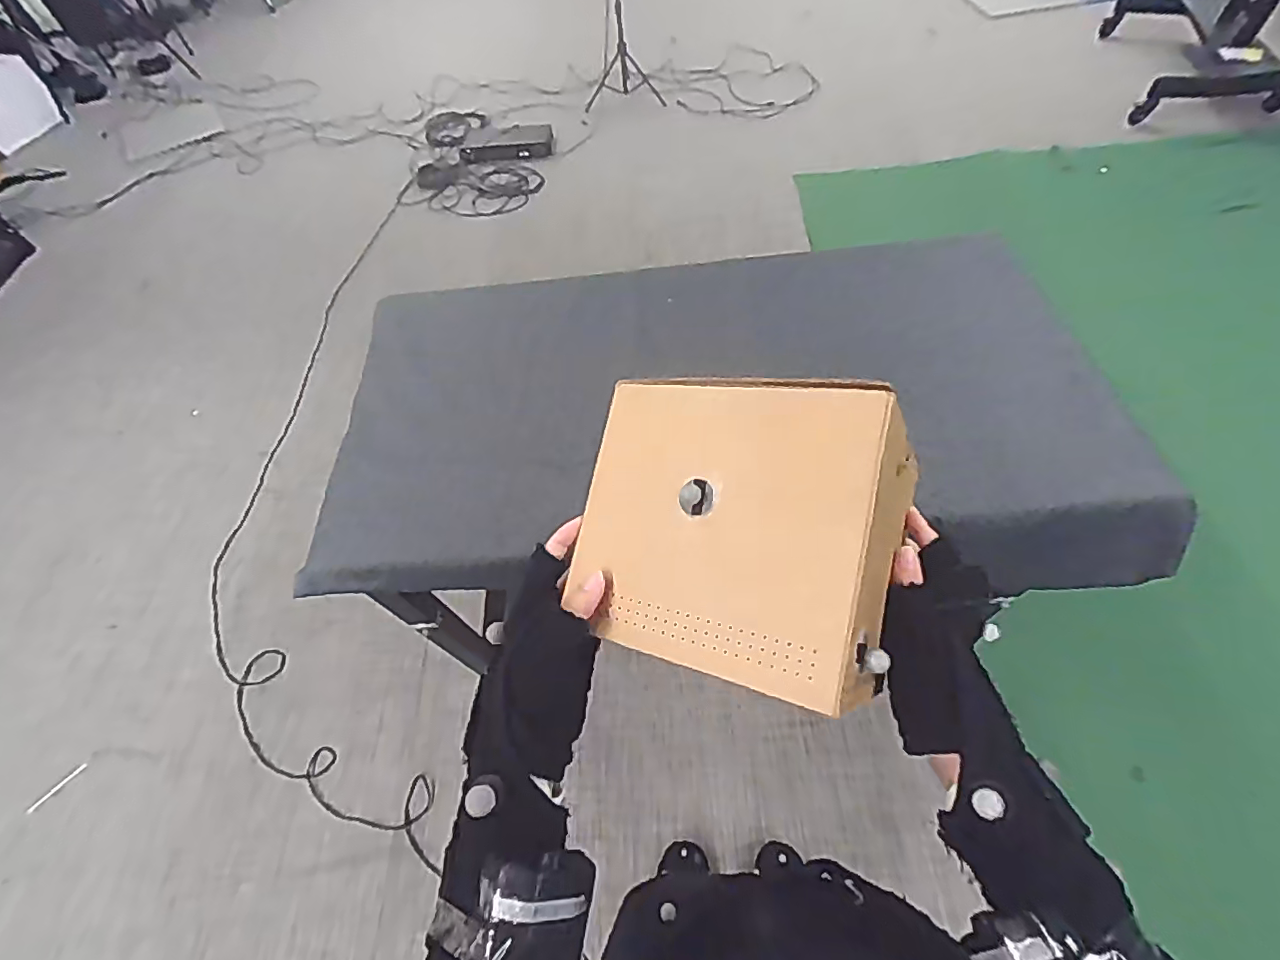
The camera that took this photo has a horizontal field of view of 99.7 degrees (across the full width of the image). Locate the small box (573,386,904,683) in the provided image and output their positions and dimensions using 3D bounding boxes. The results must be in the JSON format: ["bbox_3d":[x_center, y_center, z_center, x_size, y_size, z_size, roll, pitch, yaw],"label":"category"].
[{"bbox_3d":[0.079,0.042,0.393,0.179,0.168,0.176,6,78,32],"label":"small box"}]
